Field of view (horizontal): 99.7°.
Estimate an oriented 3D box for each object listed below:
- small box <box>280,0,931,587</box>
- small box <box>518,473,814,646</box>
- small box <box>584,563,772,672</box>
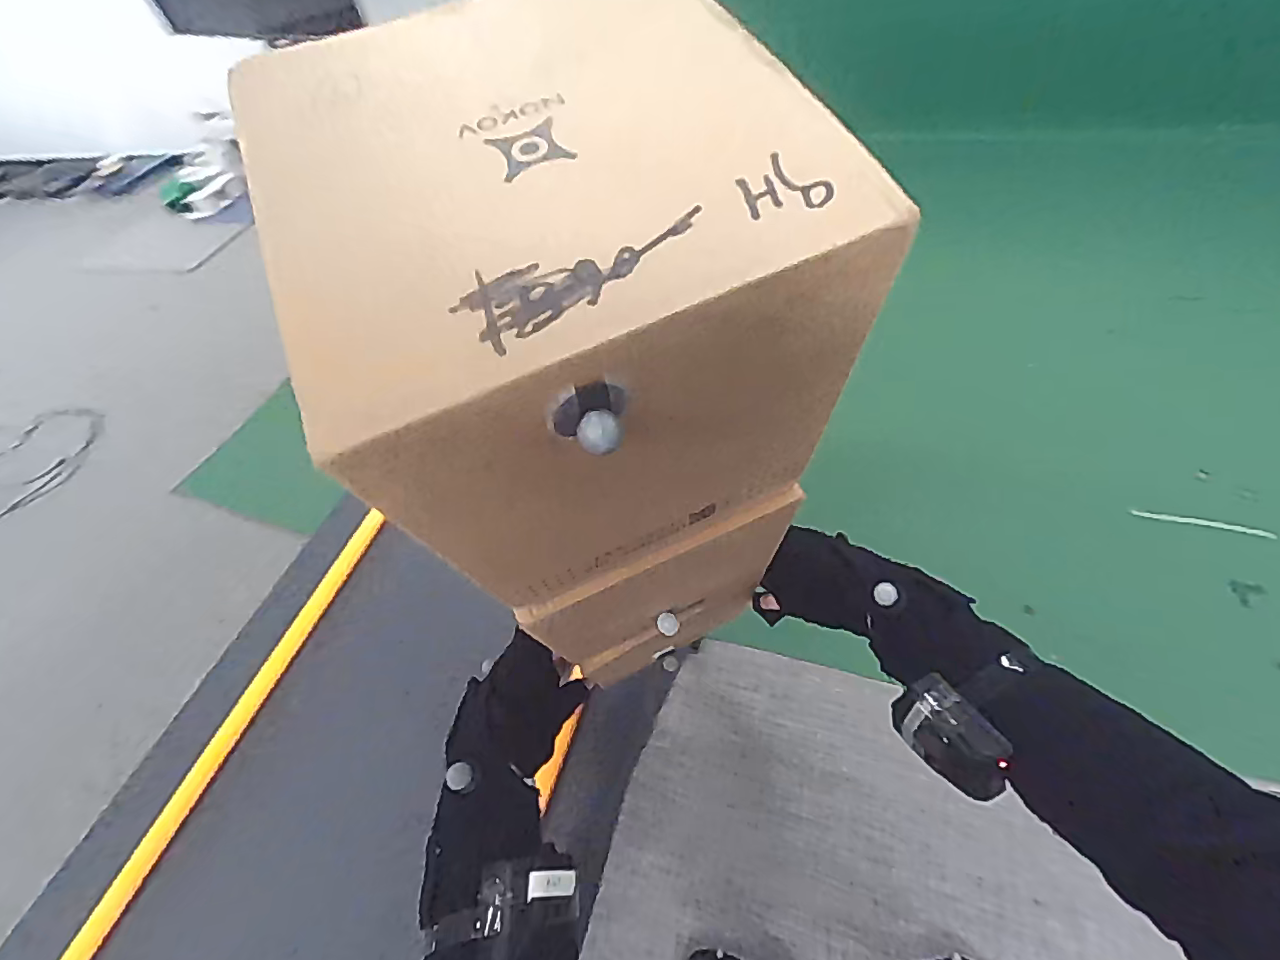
[{"bbox_3d":[-0.021,-0.076,0.245,0.168,0.176,0.179,-23,65,-5],"label":"small box"},{"bbox_3d":[-0.007,-0.001,0.390,0.168,0.176,0.179,-22,66,-6],"label":"small box"},{"bbox_3d":[0.004,0.071,0.538,0.168,0.176,0.179,-26,68,-7],"label":"small box"}]
